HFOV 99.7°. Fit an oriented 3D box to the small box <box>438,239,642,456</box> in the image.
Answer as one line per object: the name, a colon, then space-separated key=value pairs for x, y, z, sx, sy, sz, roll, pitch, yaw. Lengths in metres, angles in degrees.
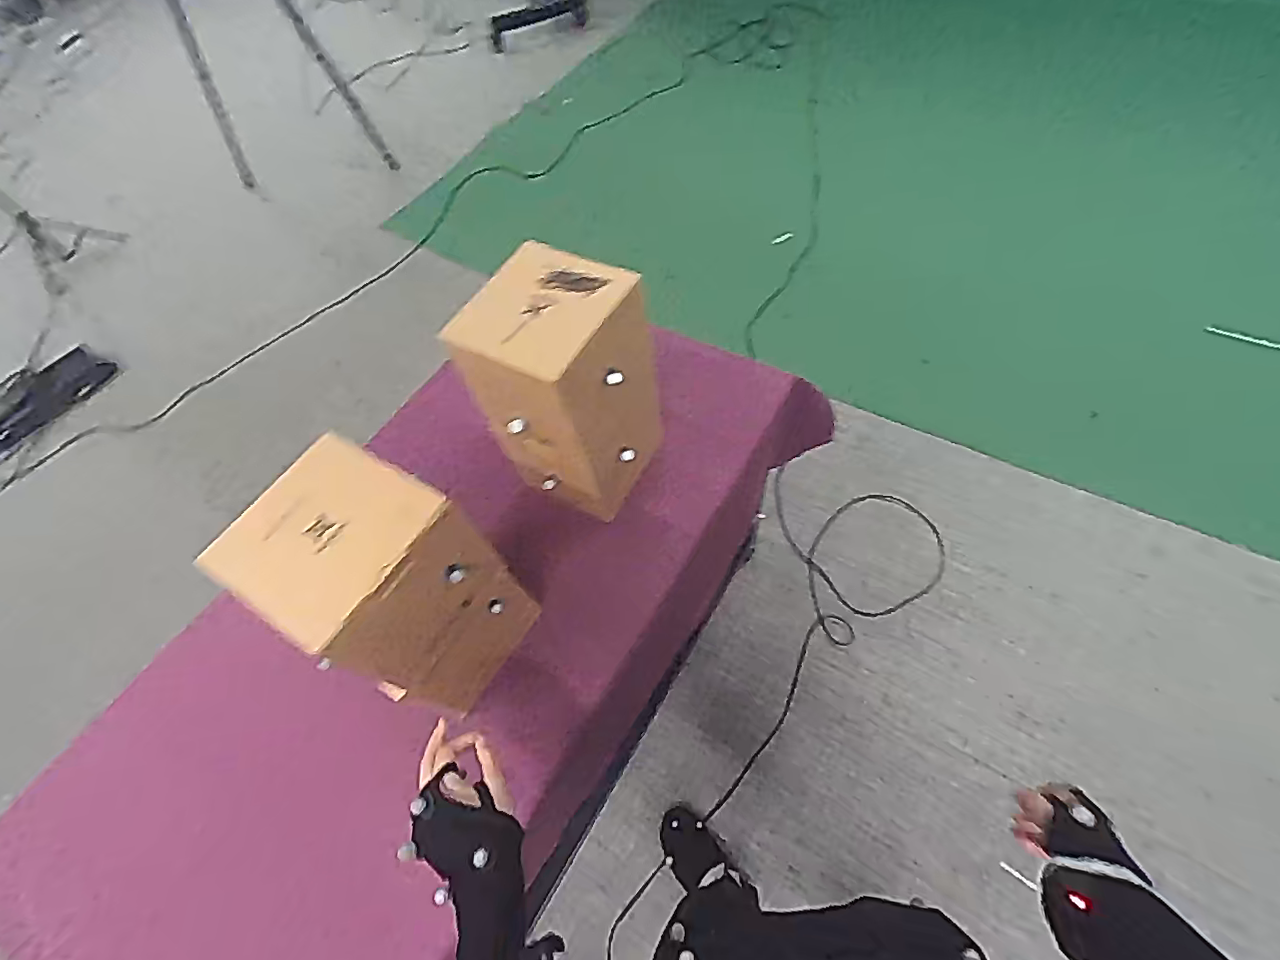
small box: x=-0.109 y=-0.163 z=0.681 sx=0.168 sy=0.176 sz=0.179 roll=24 pitch=67 yaw=21

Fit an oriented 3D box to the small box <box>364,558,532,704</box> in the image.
small box: x=-0.269 y=0.167 z=0.707 sx=0.168 sy=0.176 sz=0.179 roll=26 pitch=66 yaw=22

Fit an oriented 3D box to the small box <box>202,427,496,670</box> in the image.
small box: x=-0.285 y=0.080 z=0.571 sx=0.179 sy=0.176 sz=0.168 roll=25 pitch=65 yaw=22

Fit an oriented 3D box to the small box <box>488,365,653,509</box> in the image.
small box: x=-0.091 y=-0.082 z=0.824 sx=0.168 sy=0.176 sz=0.179 roll=23 pitch=67 yaw=19
